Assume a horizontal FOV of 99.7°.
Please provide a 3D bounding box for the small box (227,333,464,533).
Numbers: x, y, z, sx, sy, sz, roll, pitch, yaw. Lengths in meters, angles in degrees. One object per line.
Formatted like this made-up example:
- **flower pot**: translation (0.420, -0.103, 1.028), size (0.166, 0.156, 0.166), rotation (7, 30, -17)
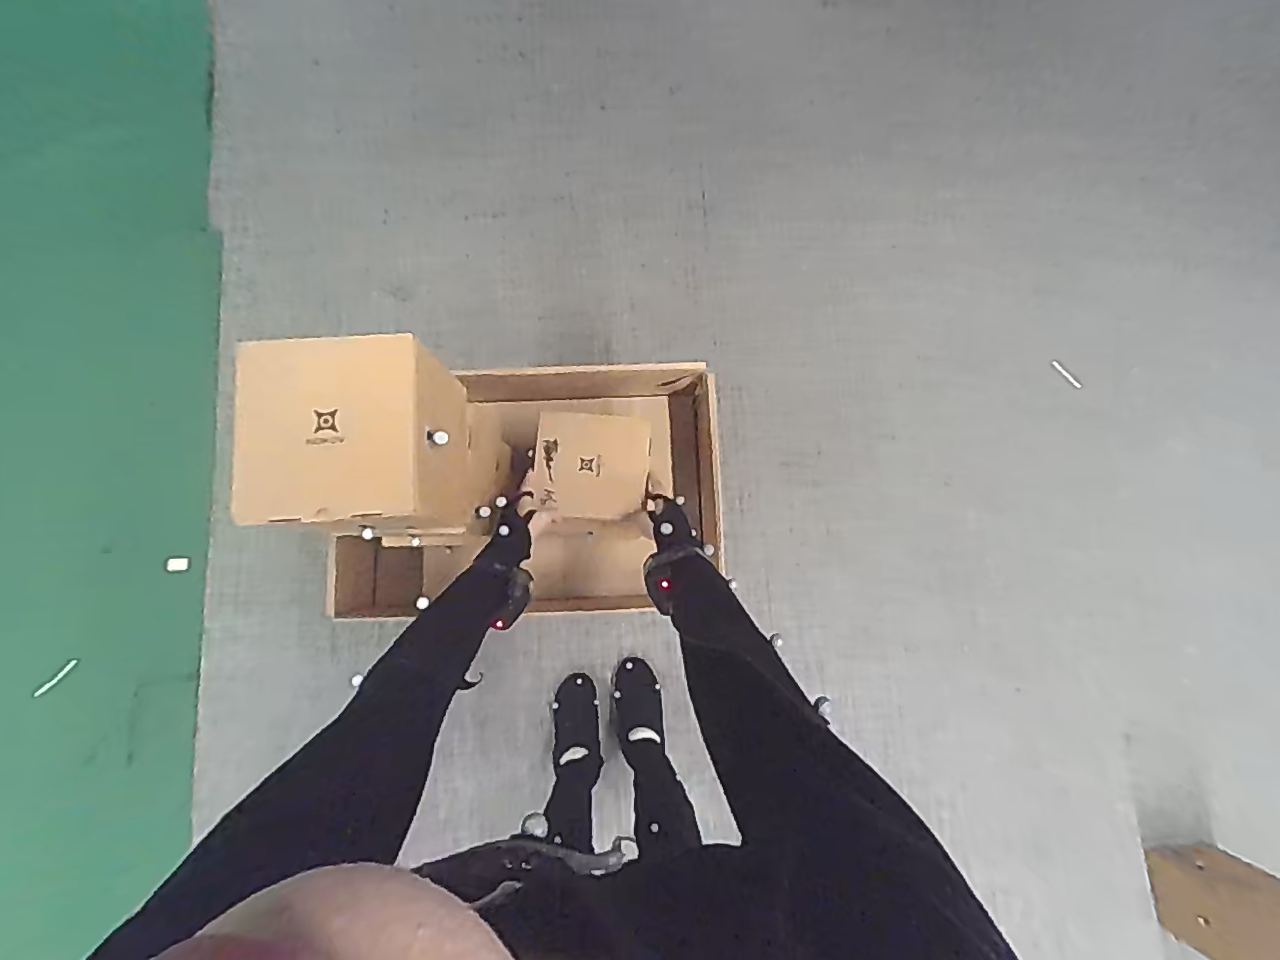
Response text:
- **small box**: translation (-0.293, -0.039, 0.576), size (0.168, 0.176, 0.179), rotation (-4, 82, -2)

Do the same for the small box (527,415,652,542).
- **small box**: translation (-0.078, 0.006, 0.885), size (0.179, 0.176, 0.168), rotation (4, 74, -2)

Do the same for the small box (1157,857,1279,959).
- **small box**: translation (1.321, 0.977, 1.210), size (0.168, 0.176, 0.179), rotation (-4, 82, -1)
